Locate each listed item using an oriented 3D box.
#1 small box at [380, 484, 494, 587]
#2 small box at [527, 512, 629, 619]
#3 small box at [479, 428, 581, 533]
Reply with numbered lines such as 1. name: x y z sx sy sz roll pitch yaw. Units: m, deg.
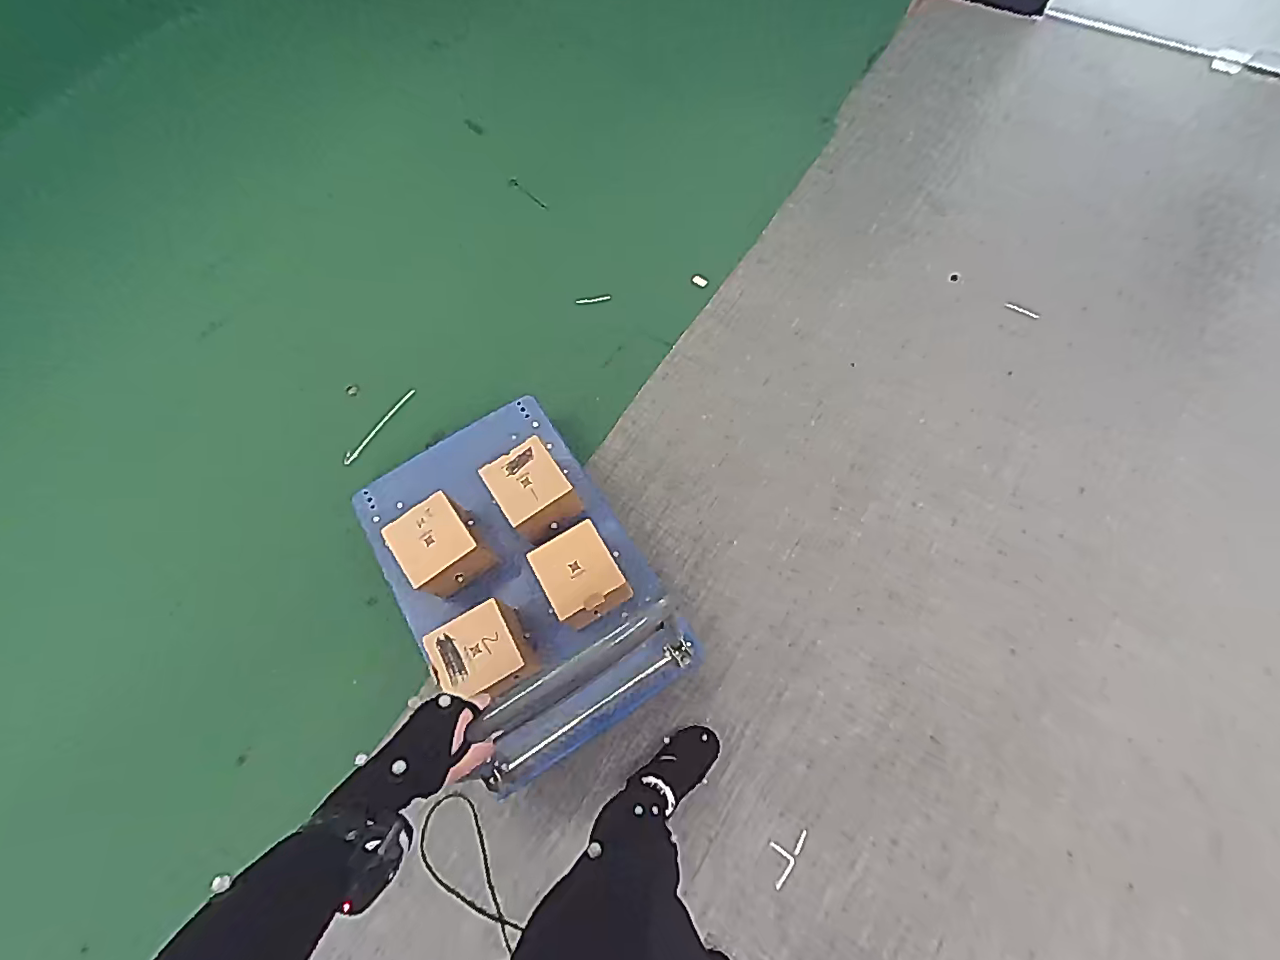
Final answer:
1. small box: -0.481 0.142 1.307 0.168 0.176 0.179 -35 72 -10
2. small box: -0.140 0.206 1.264 0.168 0.176 0.179 -30 72 -7
3. small box: -0.267 0.008 1.342 0.168 0.176 0.179 -34 72 -8
